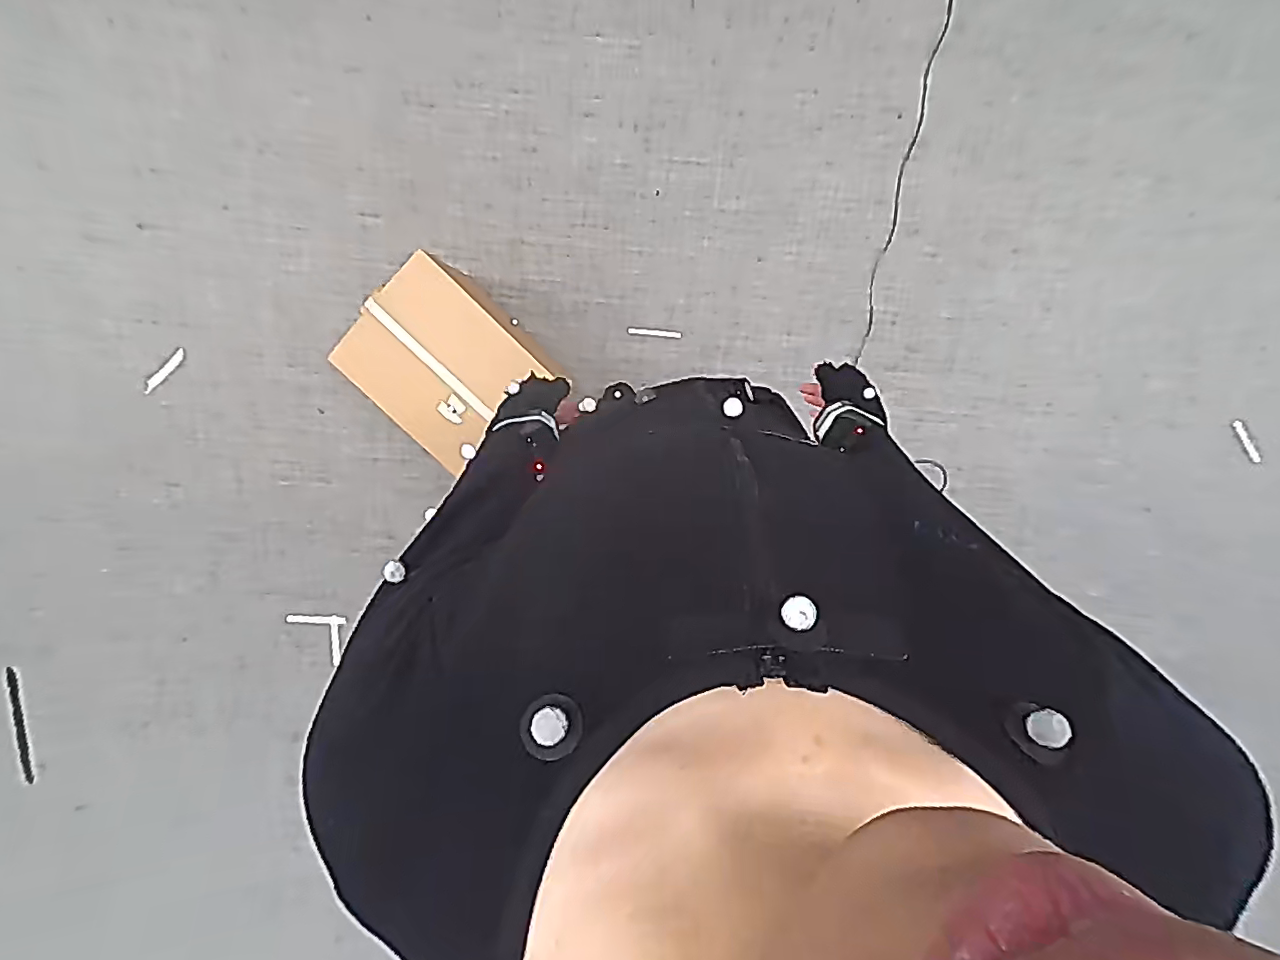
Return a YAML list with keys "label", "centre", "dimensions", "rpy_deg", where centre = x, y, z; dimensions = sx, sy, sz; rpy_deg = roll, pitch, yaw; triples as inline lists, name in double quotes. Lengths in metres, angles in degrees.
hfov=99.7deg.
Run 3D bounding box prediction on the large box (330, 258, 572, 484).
- label: "large box"
  centre: [-0.425, -0.255, 1.316]
  dimensions: [0.408, 0.320, 0.320]
  rpy_deg: [43, 98, -7]
